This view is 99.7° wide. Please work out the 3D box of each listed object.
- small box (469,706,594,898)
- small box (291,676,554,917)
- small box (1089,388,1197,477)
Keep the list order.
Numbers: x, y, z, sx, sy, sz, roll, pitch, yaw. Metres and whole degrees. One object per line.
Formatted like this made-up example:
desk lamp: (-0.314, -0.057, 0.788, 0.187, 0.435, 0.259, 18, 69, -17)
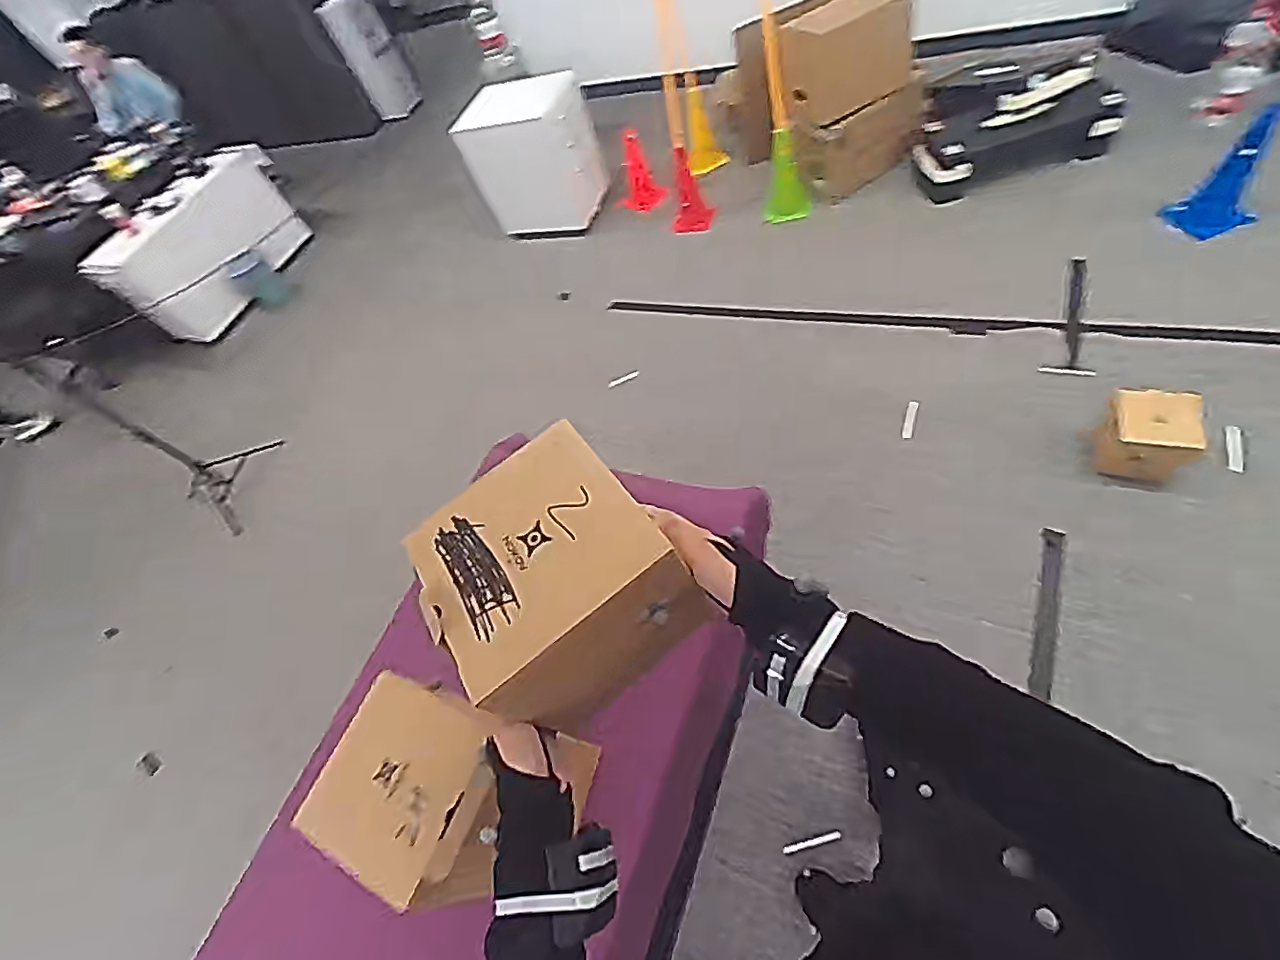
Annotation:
small box: (-0.181, 0.434, 0.745, 0.168, 0.176, 0.179, 7, 61, 23)
small box: (-0.231, 0.349, 0.613, 0.179, 0.176, 0.168, 13, 64, 25)
small box: (1.359, -0.127, 1.474, 0.168, 0.176, 0.179, 8, 62, 23)
